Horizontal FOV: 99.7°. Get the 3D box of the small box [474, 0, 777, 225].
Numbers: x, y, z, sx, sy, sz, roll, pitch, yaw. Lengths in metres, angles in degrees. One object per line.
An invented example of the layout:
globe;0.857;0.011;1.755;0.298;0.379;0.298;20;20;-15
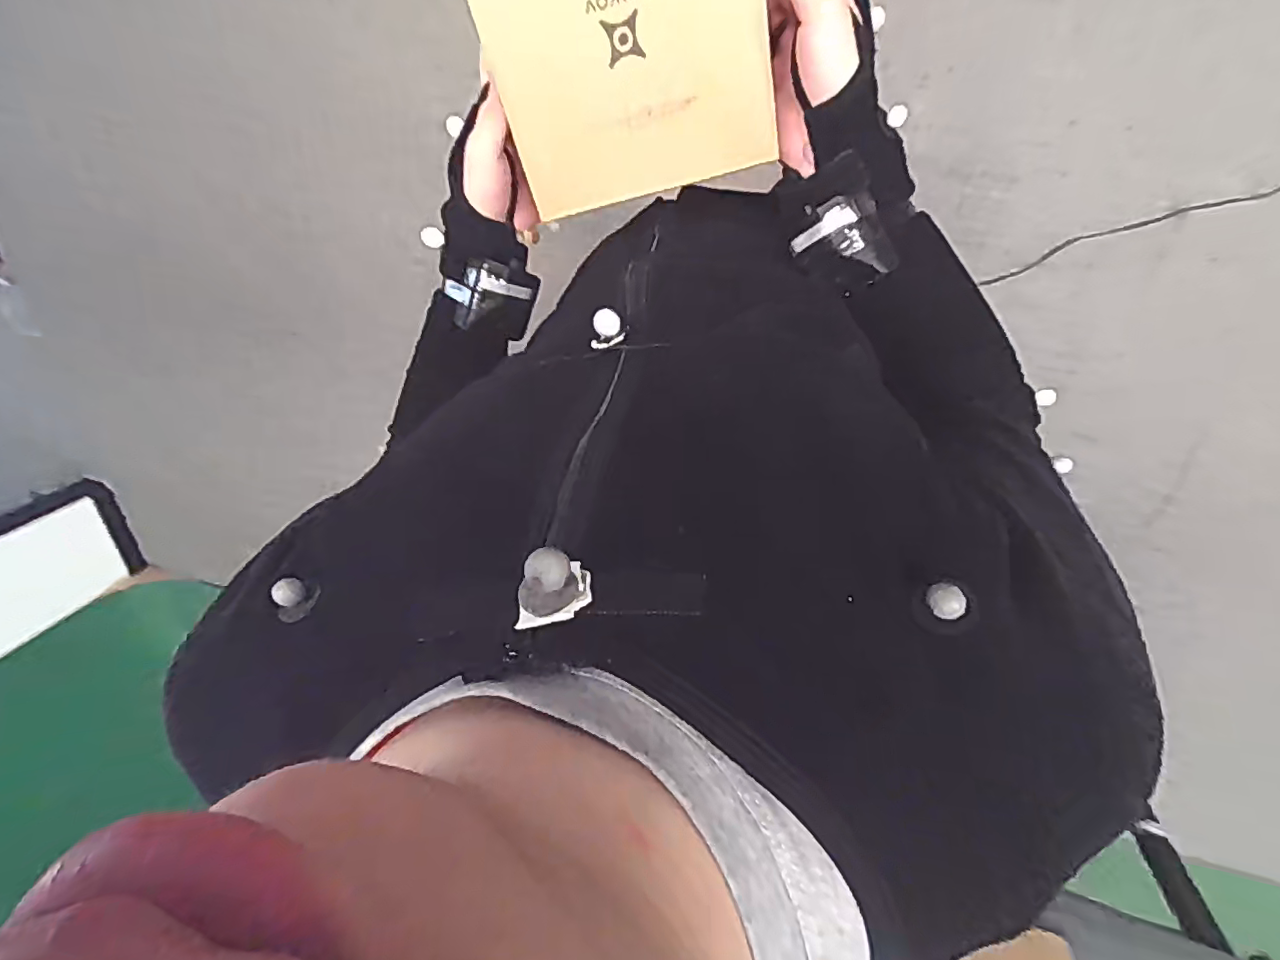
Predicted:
small box;-0.003;-0.306;0.377;0.168;0.176;0.179;-8;129;12
